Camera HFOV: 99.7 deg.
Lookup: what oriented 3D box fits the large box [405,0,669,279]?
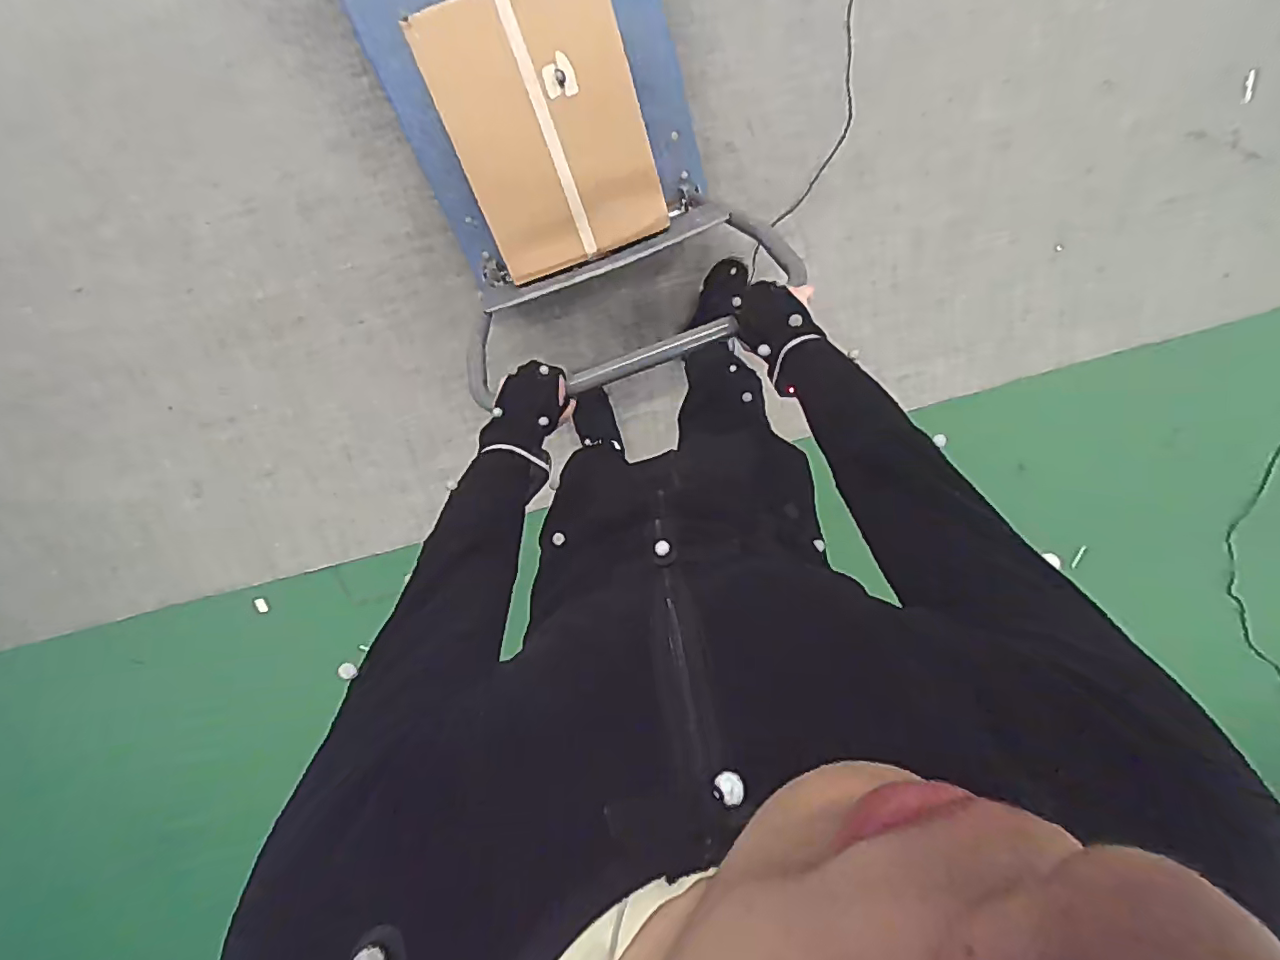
[{"bbox_3d":[-0.168,-0.660,1.041,0.320,0.320,0.408,-20,120,3],"label":"large box"}]
